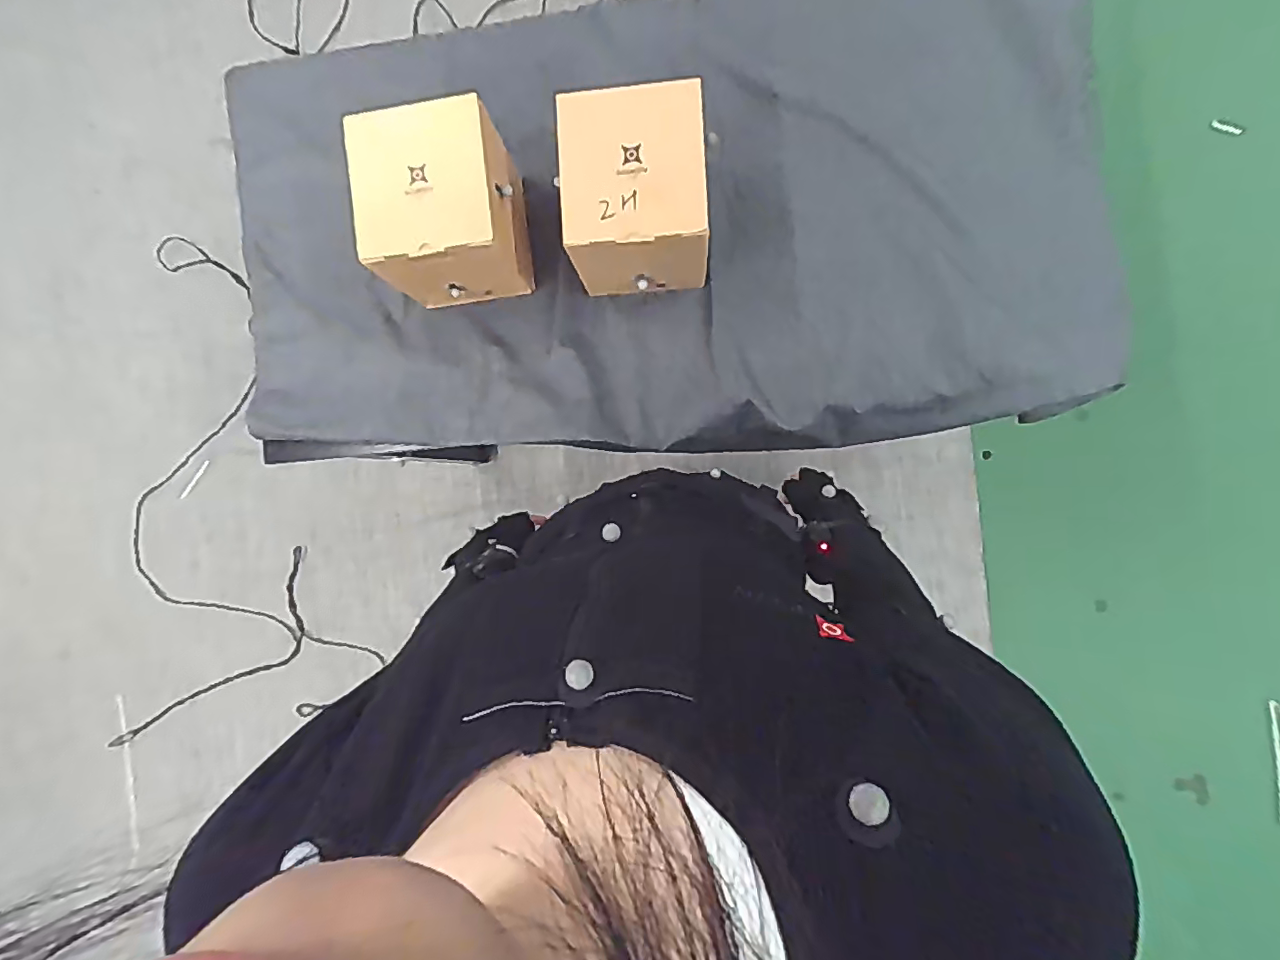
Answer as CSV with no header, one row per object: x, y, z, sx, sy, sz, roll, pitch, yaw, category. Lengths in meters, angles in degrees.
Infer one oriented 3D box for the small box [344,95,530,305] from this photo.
-0.251,-0.349,0.705,0.168,0.176,0.179,-7,90,5,small box

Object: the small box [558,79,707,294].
-0.004,-0.354,0.682,0.168,0.176,0.179,-3,90,5,small box
